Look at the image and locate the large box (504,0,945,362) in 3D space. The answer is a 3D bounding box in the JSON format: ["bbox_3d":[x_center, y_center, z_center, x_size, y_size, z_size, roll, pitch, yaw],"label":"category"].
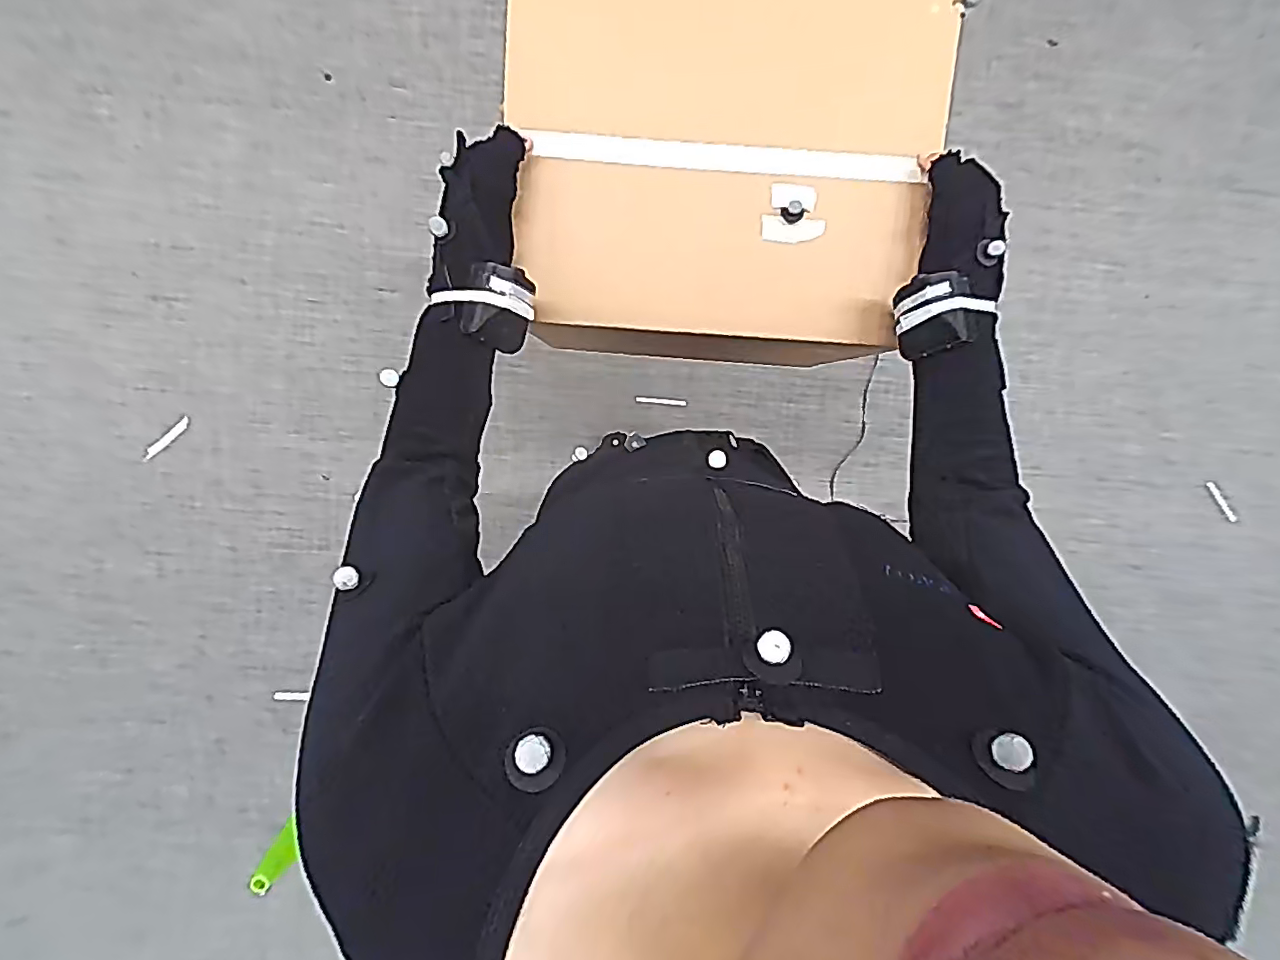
[{"bbox_3d":[0.069,-0.319,0.651,0.408,0.320,0.320,3,98,-2],"label":"large box"}]
